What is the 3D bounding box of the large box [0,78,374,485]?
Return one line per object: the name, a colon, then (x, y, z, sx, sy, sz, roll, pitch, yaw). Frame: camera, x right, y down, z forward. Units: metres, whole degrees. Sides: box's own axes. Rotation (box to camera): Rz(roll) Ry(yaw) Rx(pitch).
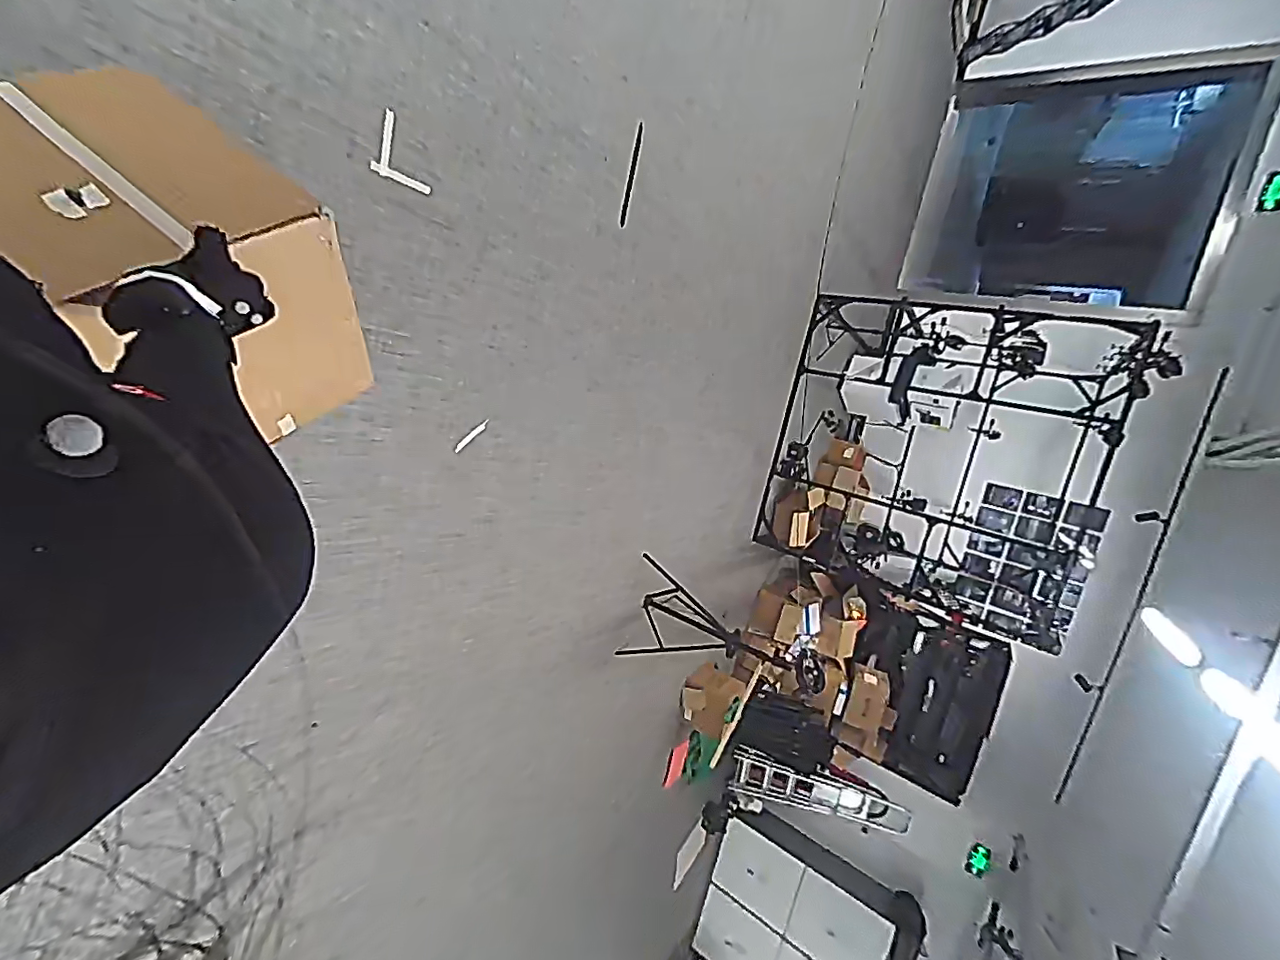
large box: (-0.658, -0.272, 0.752, 0.320, 0.408, 0.320, -45, 167, -32)
